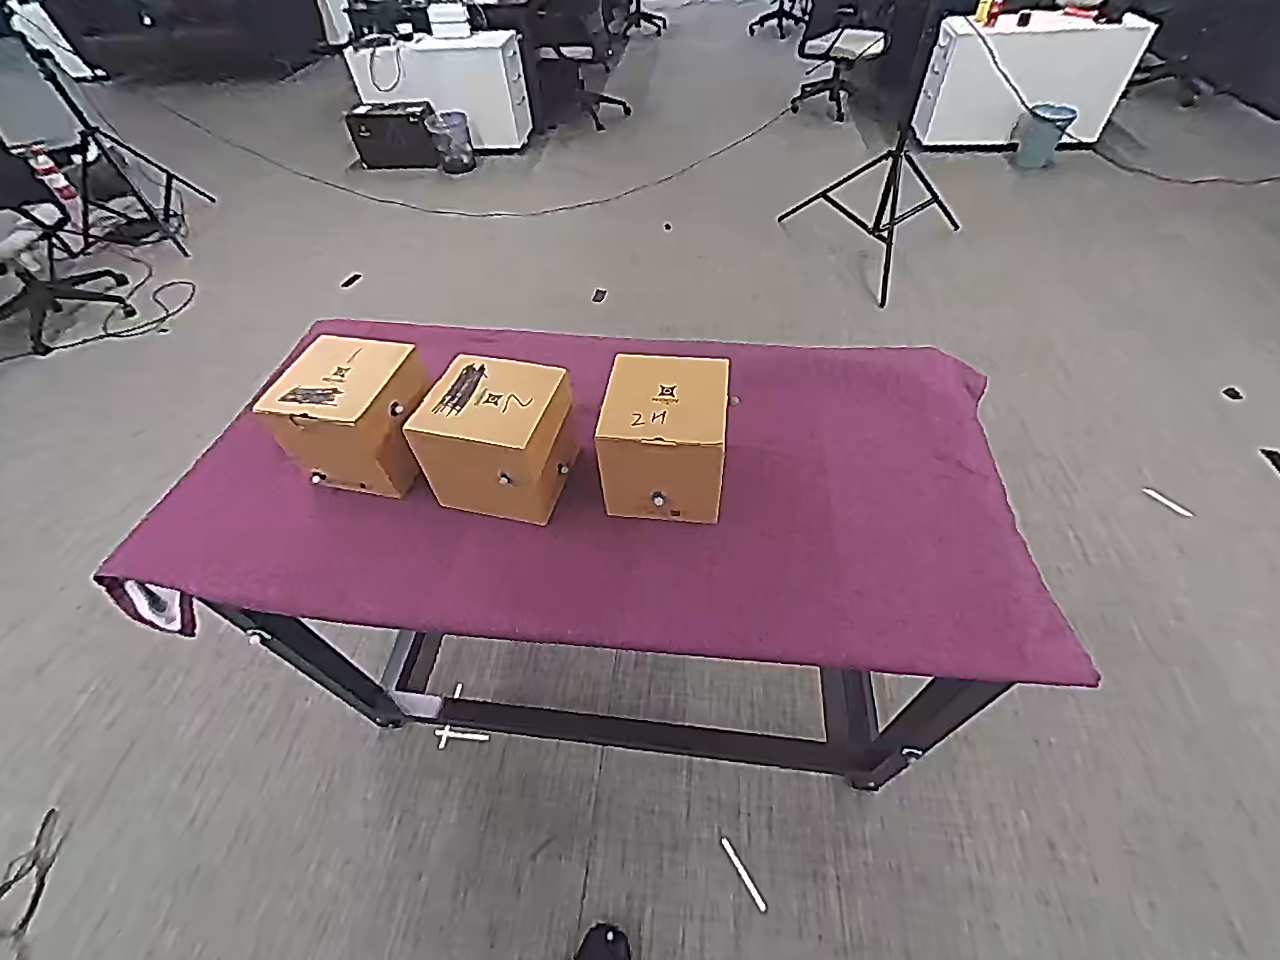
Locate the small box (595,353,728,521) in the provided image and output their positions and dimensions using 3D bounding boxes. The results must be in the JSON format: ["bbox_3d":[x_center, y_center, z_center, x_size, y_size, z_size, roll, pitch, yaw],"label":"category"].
[{"bbox_3d":[0.037,-0.064,0.794,0.168,0.176,0.179,4,50,8],"label":"small box"}]

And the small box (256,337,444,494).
[{"bbox_3d":[-0.436,-0.100,0.852,0.168,0.176,0.179,8,51,9],"label":"small box"}]
